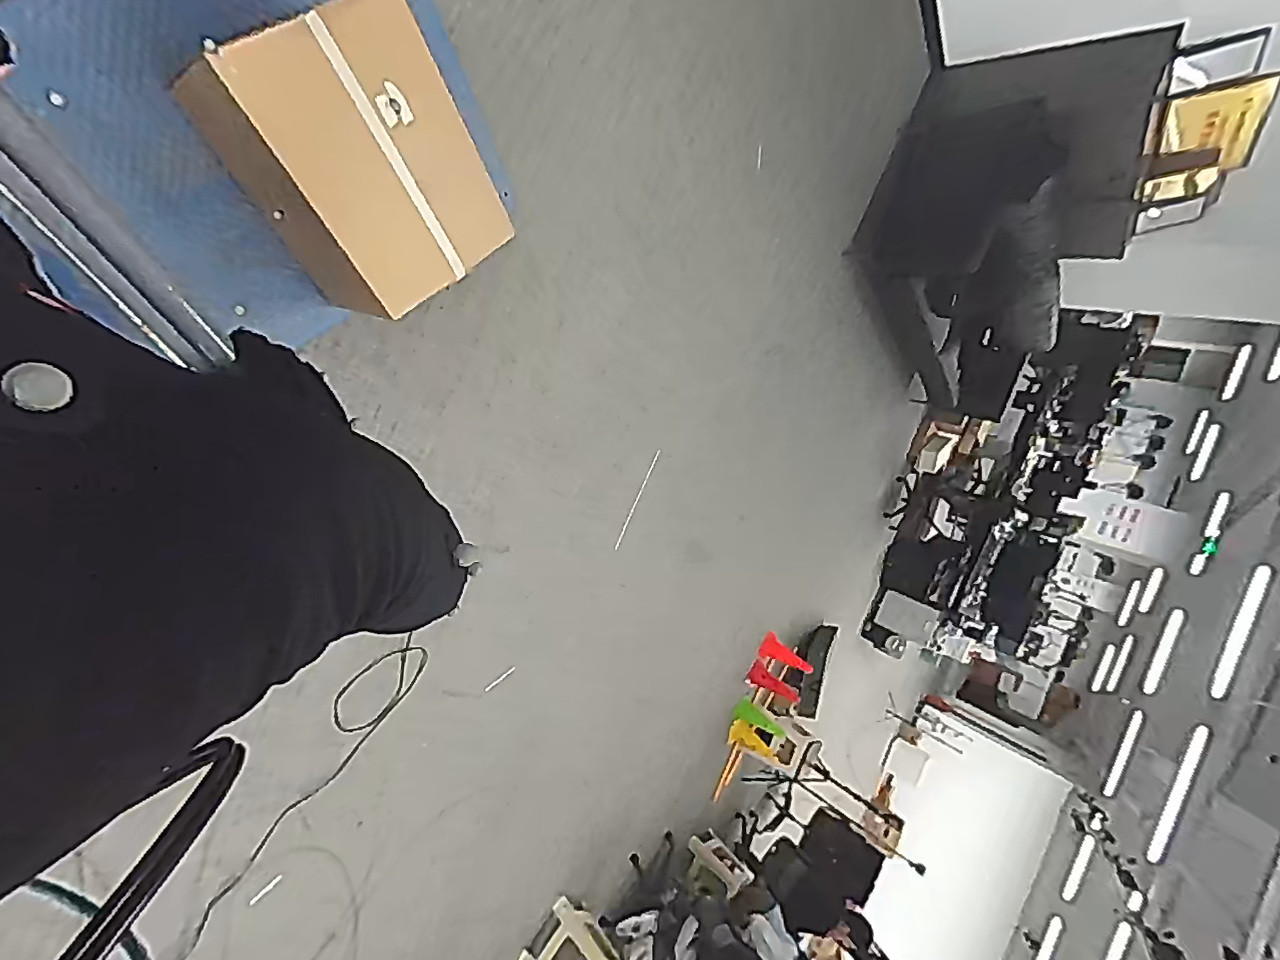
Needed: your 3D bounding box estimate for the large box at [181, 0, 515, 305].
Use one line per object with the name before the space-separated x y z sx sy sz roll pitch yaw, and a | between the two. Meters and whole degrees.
large box | -0.514 -0.591 0.998 0.320 0.320 0.408 -48 136 -22
